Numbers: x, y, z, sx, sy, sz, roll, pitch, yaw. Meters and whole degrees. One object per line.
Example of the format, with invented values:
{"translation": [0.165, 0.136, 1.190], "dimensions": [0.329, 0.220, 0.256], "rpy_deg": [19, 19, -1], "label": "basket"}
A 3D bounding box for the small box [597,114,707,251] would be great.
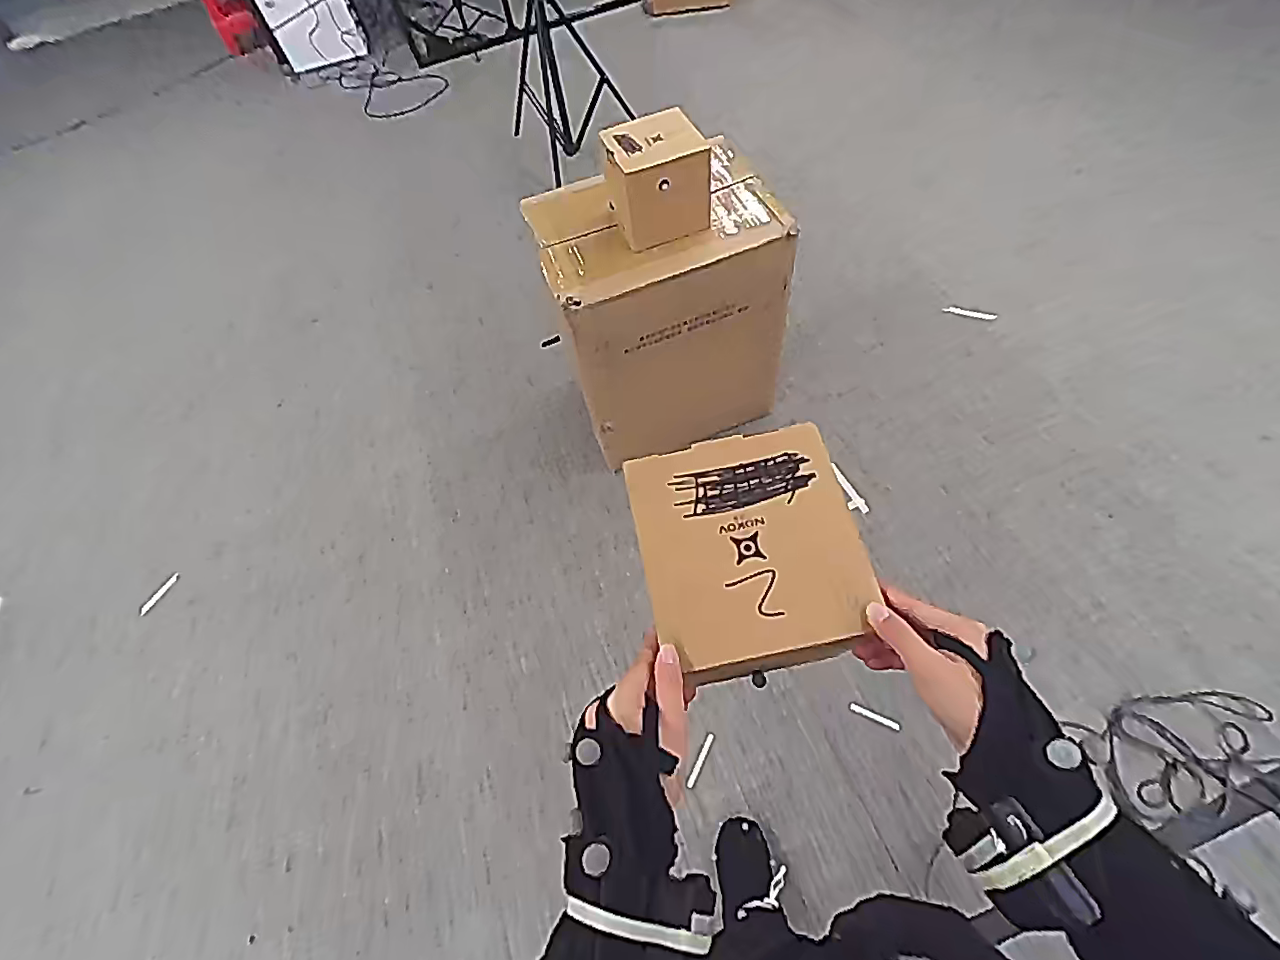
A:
{"translation": [0.029, -0.602, 1.106], "dimensions": [0.179, 0.176, 0.168], "rpy_deg": [-20, 60, -6], "label": "small box"}
